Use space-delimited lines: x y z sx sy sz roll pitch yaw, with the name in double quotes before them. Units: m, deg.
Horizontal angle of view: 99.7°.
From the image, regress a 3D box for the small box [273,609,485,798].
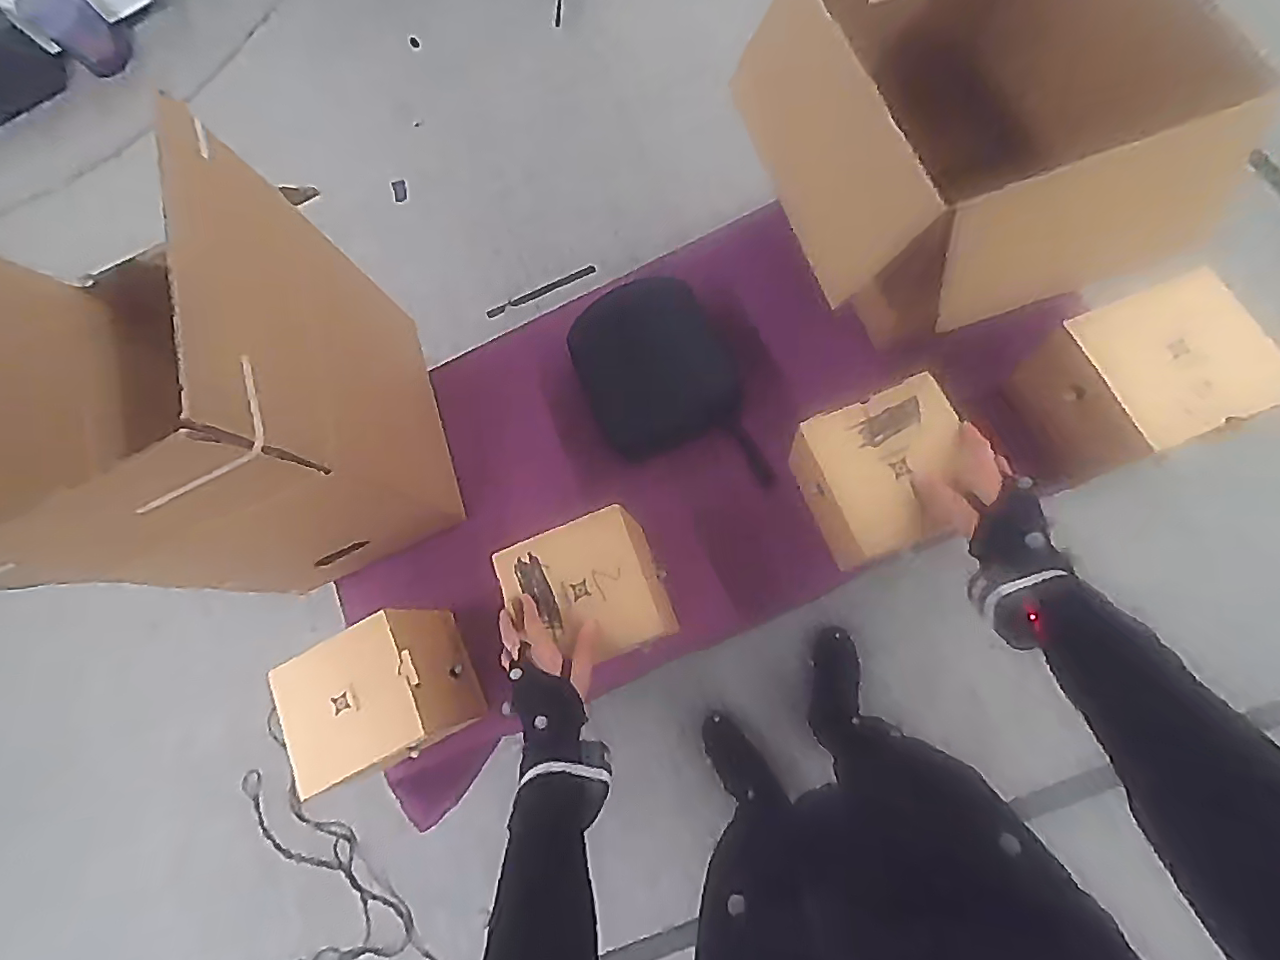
"small box" -0.346 0.294 0.740 0.179 0.176 0.168 -29 72 1
